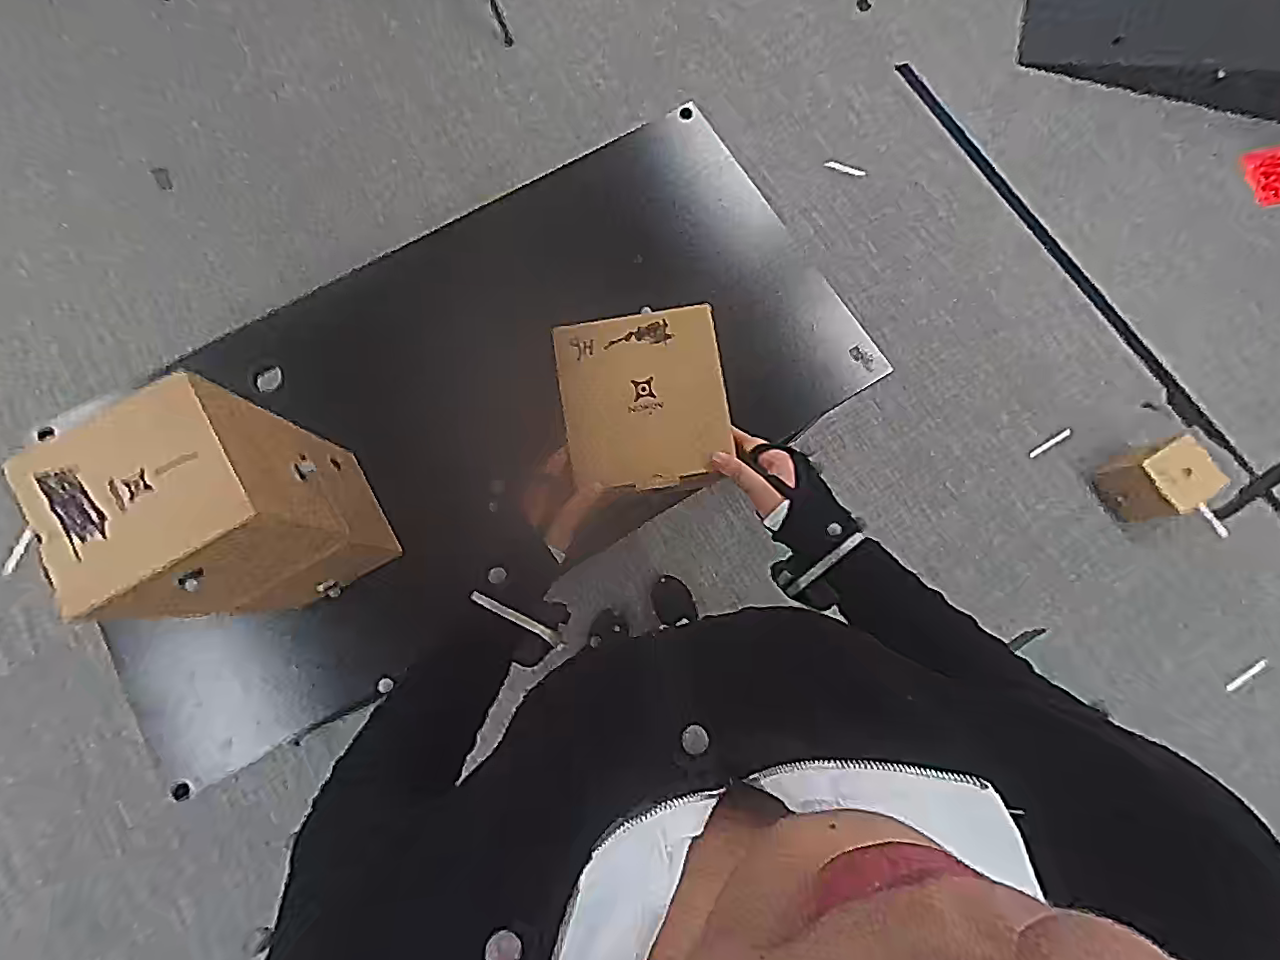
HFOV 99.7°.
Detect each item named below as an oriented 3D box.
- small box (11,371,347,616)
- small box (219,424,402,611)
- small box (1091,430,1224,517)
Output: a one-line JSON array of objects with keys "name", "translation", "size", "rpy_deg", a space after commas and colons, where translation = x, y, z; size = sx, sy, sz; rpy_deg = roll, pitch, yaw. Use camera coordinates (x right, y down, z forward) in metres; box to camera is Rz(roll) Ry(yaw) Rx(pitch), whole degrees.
[{"name": "small box", "translation": [-0.452, 0.025, 0.560], "size": [0.179, 0.176, 0.168], "rpy_deg": [-32, 81, -7]}, {"name": "small box", "translation": [-0.456, 0.057, 0.721], "size": [0.168, 0.176, 0.179], "rpy_deg": [-31, 81, -6]}, {"name": "small box", "translation": [1.440, -0.014, 1.518], "size": [0.179, 0.176, 0.168], "rpy_deg": [-30, 80, -7]}]
